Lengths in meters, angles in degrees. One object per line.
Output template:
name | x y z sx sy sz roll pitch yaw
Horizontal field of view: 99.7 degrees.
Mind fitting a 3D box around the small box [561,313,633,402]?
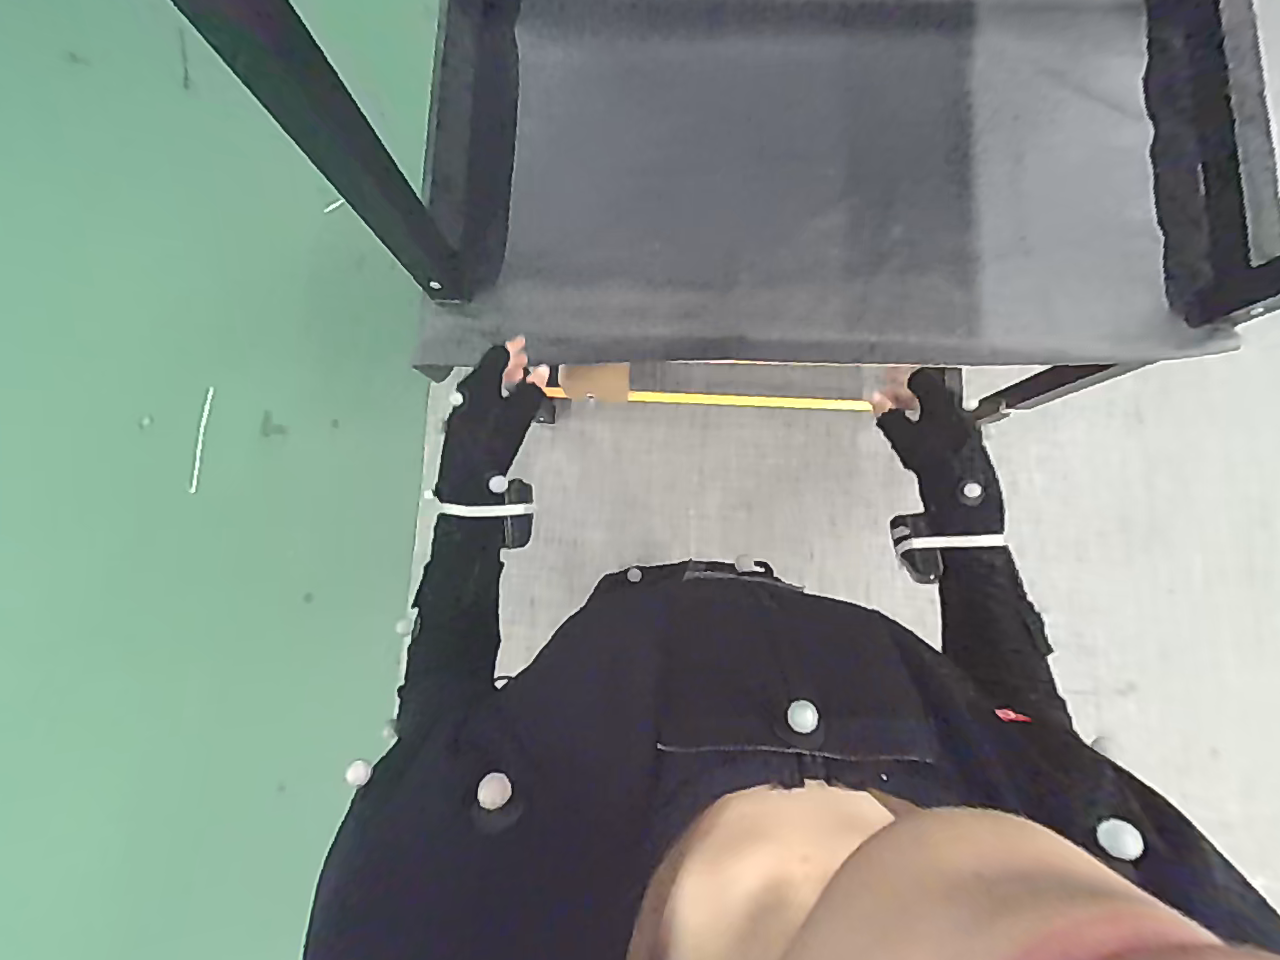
small box | -0.104 -0.309 1.381 0.168 0.176 0.179 2 84 2
